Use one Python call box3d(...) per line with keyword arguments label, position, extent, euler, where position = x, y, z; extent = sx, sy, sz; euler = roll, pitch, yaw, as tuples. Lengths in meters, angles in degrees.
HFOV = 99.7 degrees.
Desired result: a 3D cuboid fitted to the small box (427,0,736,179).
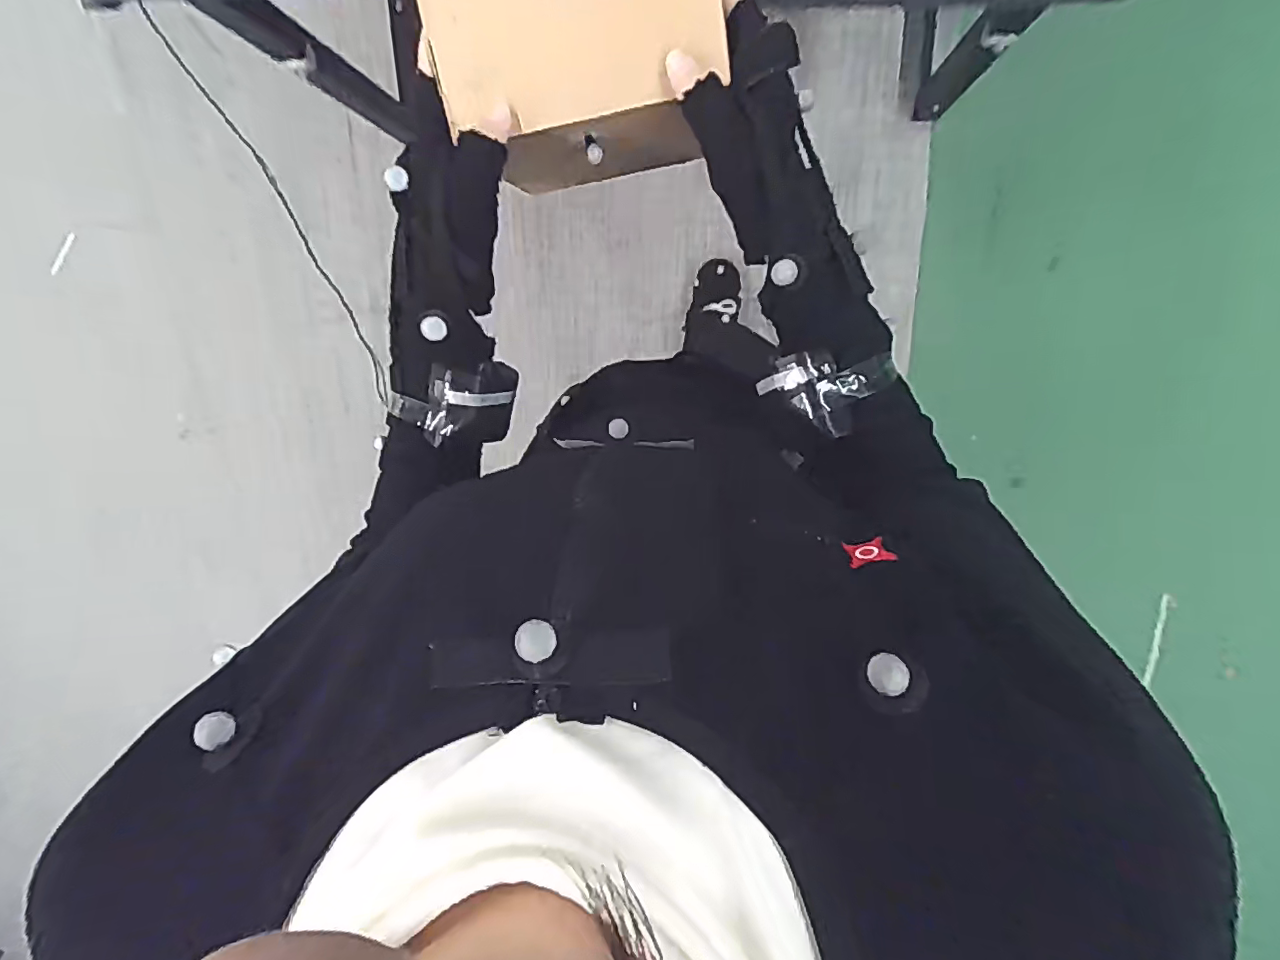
box3d(label="small box", position=(-0.034, -0.327, 0.374), extent=(0.179, 0.176, 0.168), euler=(-9, 108, 8))
